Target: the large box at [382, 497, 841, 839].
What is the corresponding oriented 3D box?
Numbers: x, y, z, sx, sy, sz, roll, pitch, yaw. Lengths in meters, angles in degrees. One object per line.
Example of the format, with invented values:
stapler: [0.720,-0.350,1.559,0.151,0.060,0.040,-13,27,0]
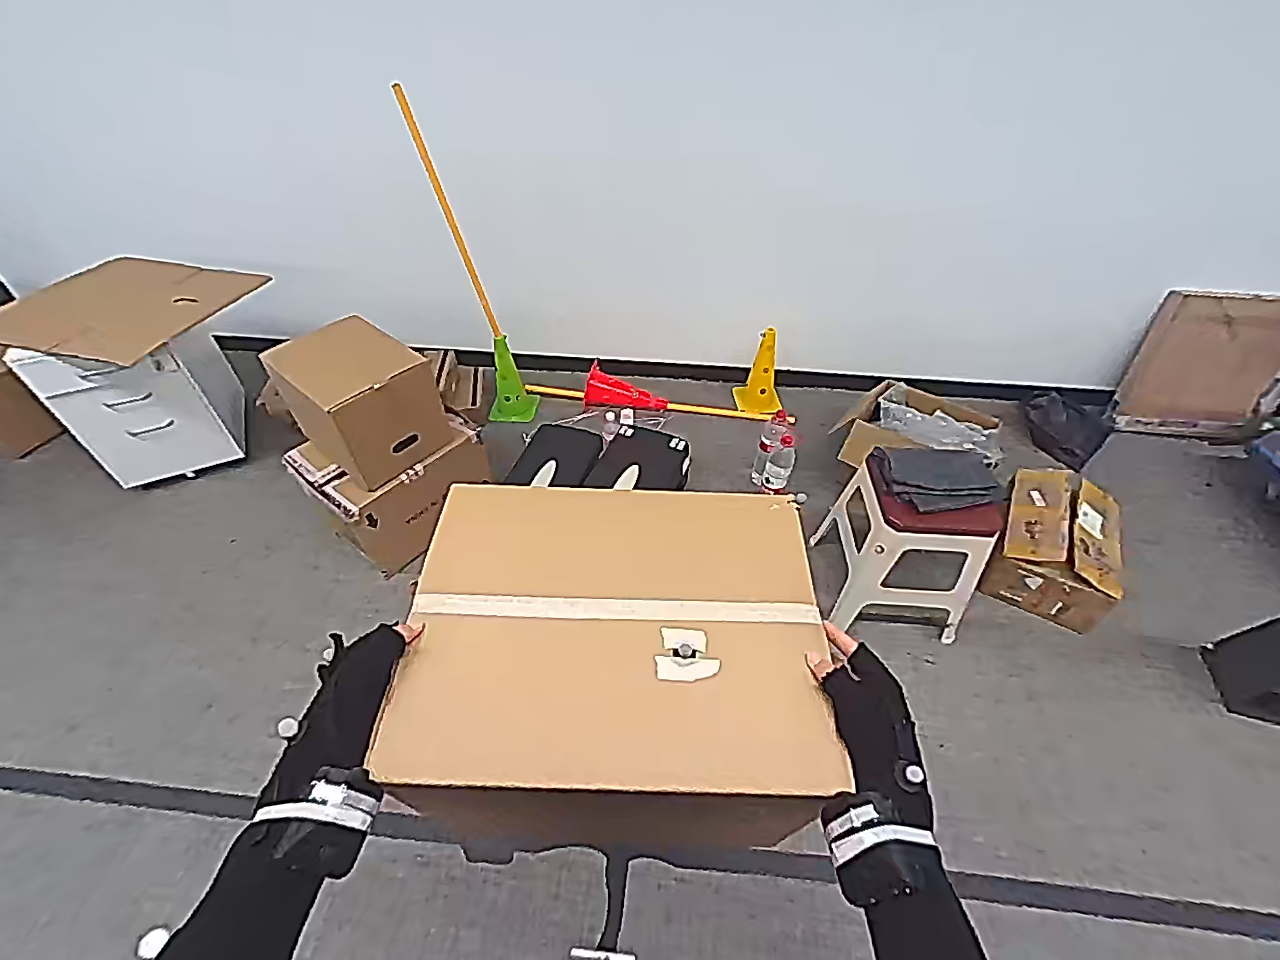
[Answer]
large box: [-0.027,0.238,0.669,0.408,0.320,0.320,2,50,-1]
